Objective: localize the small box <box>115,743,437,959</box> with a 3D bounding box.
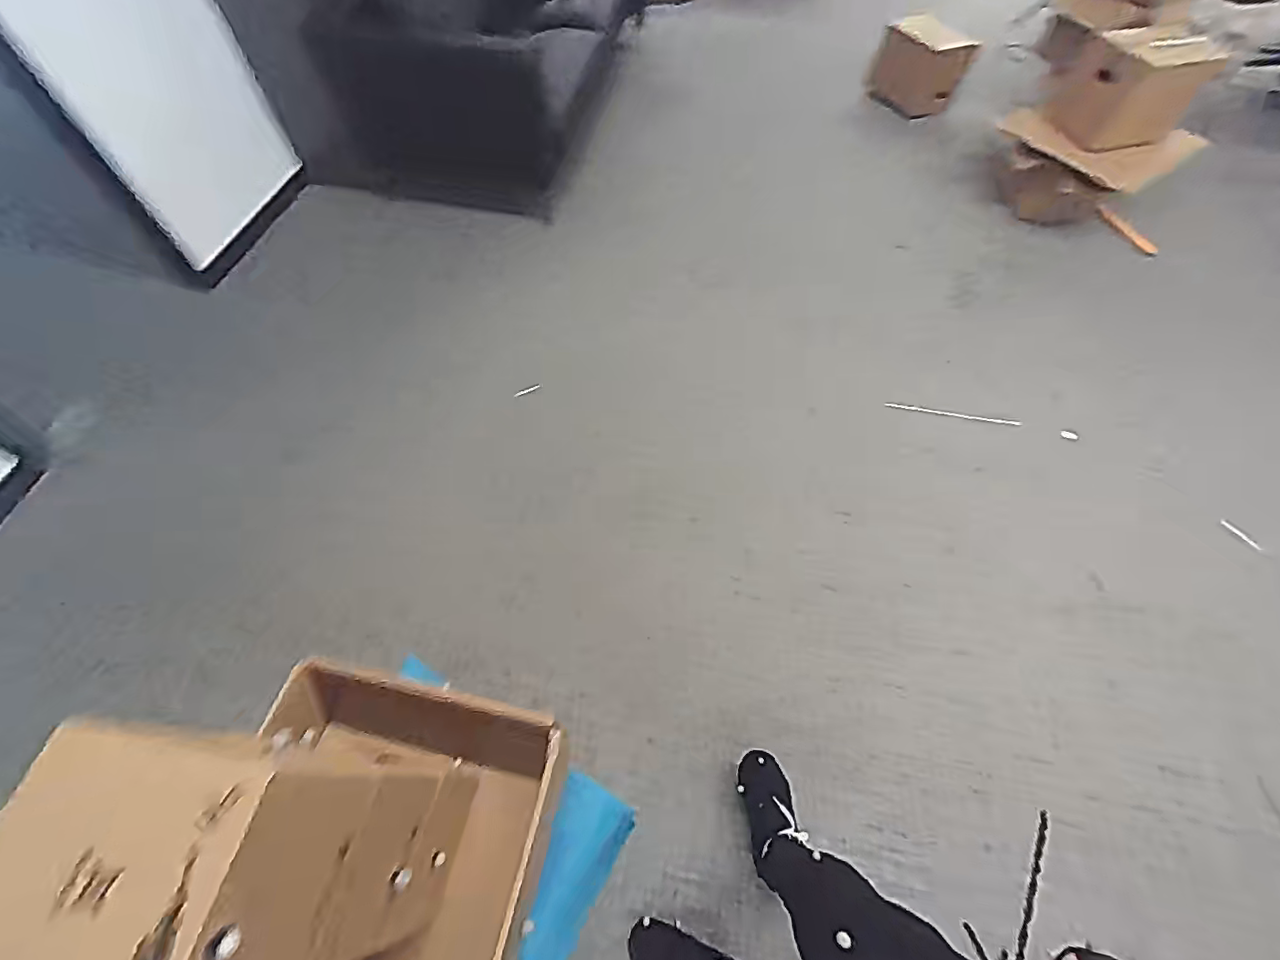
[{"bbox_3d":[-0.342,0.384,0.553,0.179,0.176,0.168,9,60,7],"label":"small box"}]
